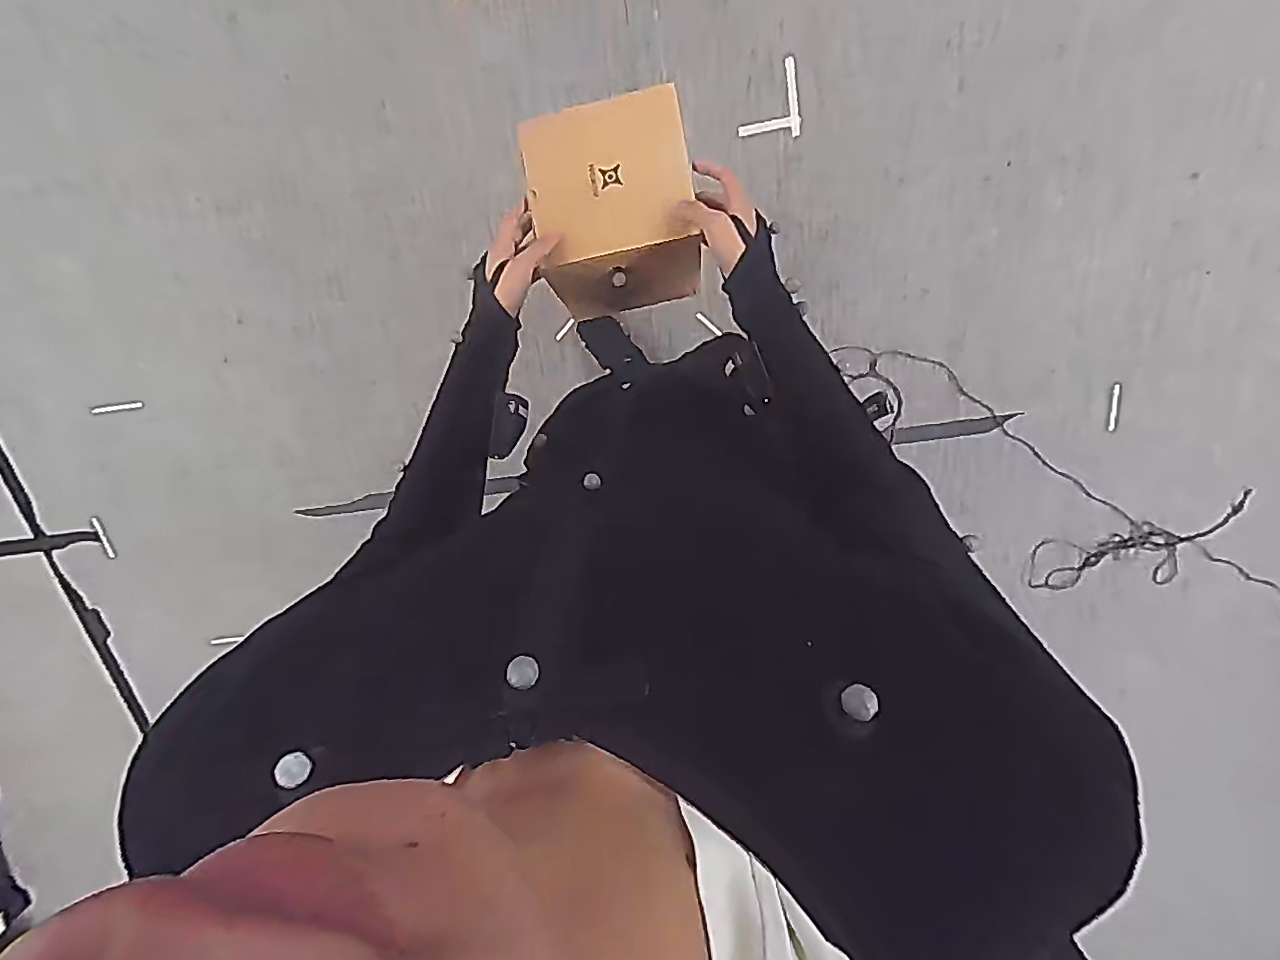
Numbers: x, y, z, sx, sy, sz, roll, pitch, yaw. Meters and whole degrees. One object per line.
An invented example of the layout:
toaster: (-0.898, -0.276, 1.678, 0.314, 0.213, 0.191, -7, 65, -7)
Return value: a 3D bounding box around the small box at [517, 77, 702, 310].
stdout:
small box: (-0.025, -0.321, 0.643, 0.179, 0.176, 0.168, -10, 88, 7)
